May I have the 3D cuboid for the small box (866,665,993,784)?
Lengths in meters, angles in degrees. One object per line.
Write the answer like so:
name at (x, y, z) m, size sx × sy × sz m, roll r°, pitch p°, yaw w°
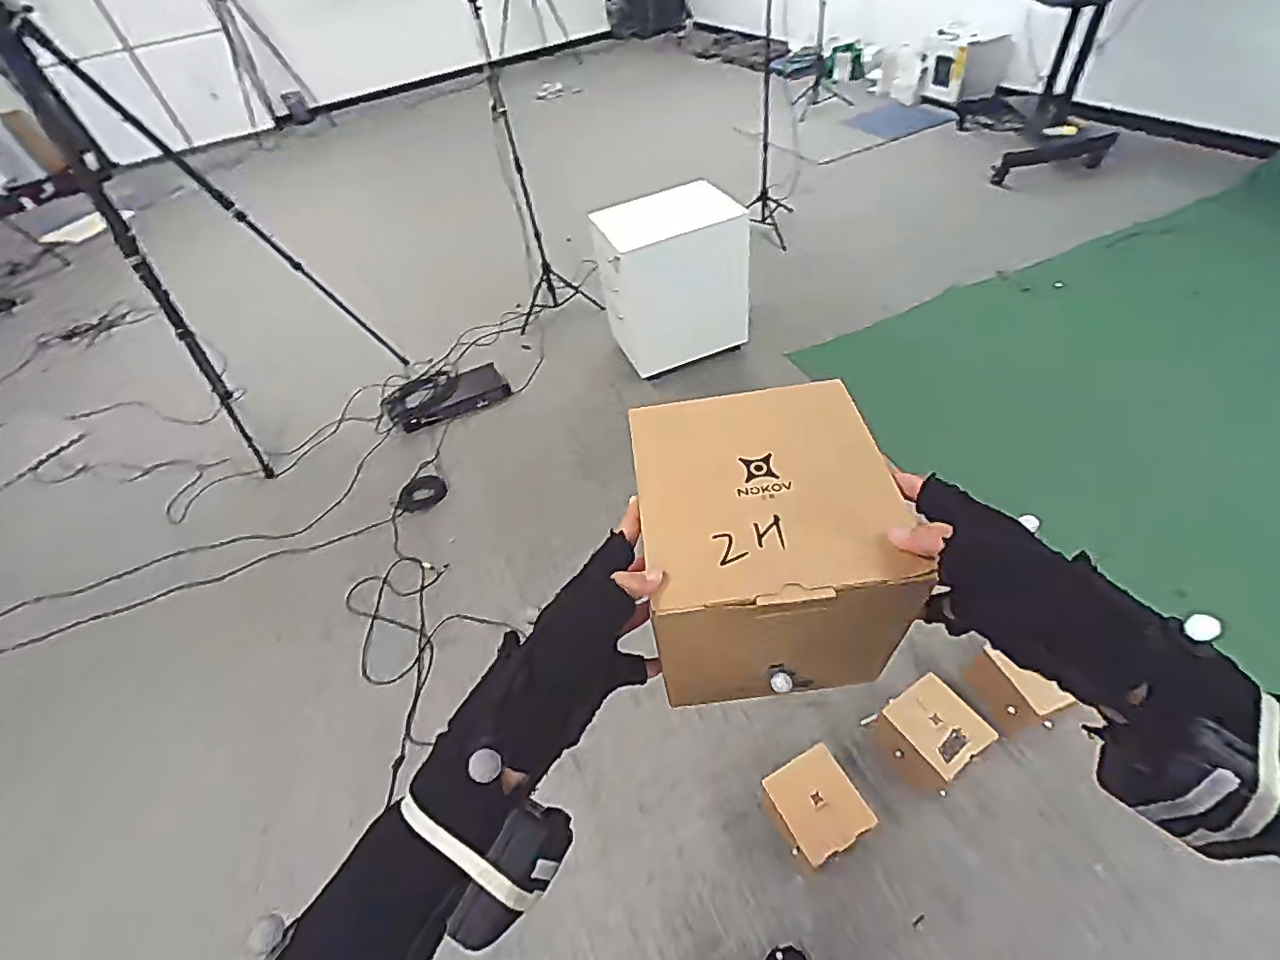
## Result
small box at (0.656, 0.571, 1.247) m, size 0.168 × 0.176 × 0.179 m, roll -29°, pitch 50°, yaw -16°

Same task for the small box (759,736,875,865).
small box at (0.374, 0.703, 1.181) m, size 0.168 × 0.176 × 0.179 m, roll -26°, pitch 51°, yaw -12°
